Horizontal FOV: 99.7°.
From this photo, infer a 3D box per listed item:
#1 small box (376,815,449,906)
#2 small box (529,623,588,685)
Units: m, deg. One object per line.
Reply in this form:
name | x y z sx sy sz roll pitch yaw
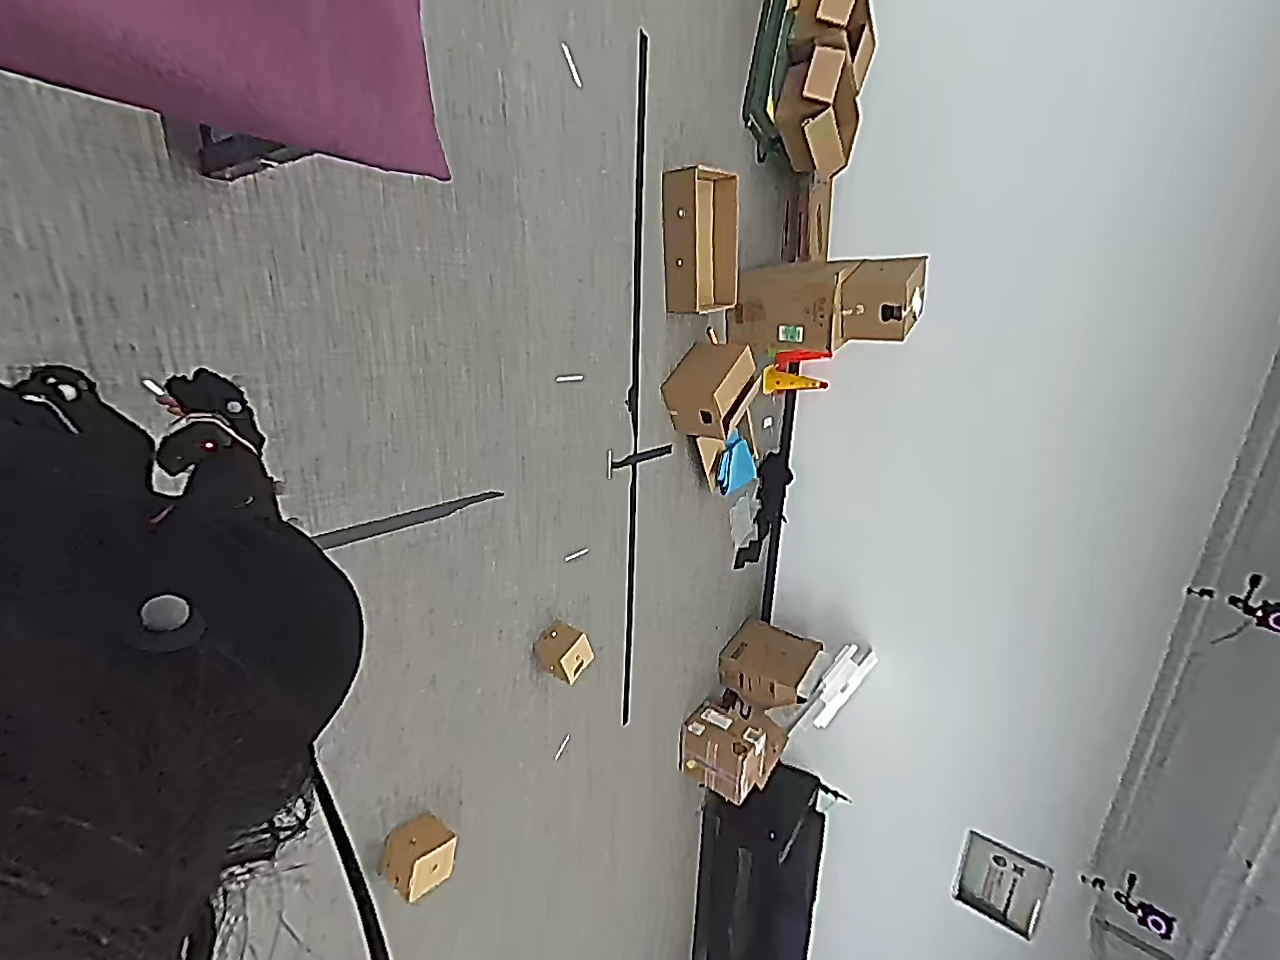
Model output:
small box | -0.819 1.355 1.939 0.179 0.176 0.168 1 102 -57
small box | -0.359 0.761 2.385 0.168 0.176 0.179 -45 134 -38
